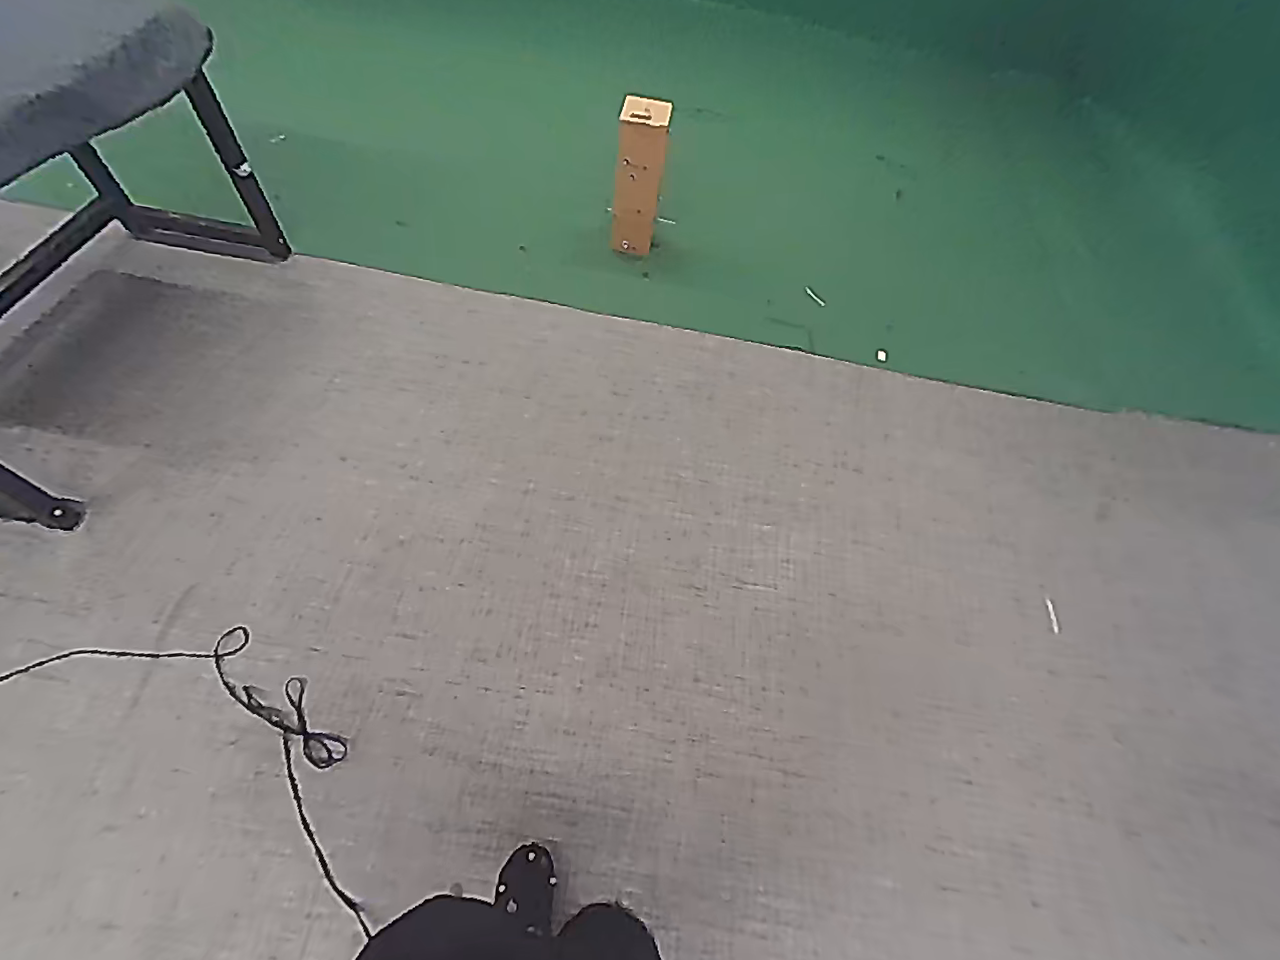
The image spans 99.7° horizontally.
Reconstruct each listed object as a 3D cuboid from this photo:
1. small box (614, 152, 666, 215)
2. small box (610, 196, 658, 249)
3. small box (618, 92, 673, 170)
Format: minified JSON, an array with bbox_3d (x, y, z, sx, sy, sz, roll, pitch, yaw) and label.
[{"bbox_3d":[-0.004,-1.143,2.051,0.168,0.176,0.179,11,57,0],"label":"small box"},{"bbox_3d":[-0.025,-1.067,2.173,0.168,0.176,0.179,11,58,1],"label":"small box"},{"bbox_3d":[0.016,-1.230,1.913,0.168,0.176,0.179,10,57,-1],"label":"small box"}]
